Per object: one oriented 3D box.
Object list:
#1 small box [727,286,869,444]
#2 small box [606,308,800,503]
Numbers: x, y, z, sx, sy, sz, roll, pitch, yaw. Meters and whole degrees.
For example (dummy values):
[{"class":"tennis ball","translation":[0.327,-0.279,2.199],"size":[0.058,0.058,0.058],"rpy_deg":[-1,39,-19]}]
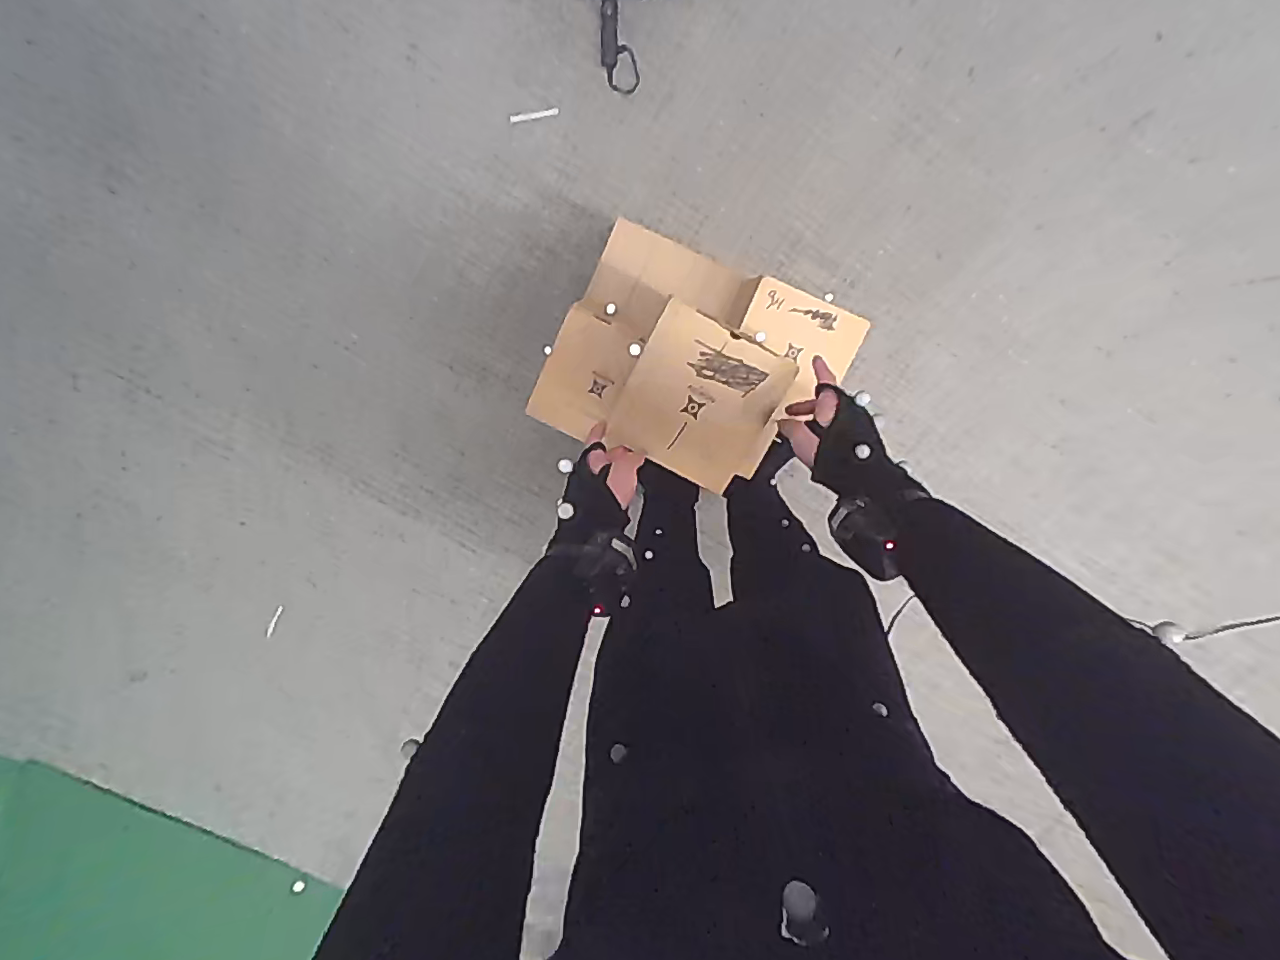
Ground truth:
[{"class":"small box","translation":[0.213,-0.181,0.835],"size":[0.168,0.176,0.179],"rpy_deg":[22,107,-5]},{"class":"small box","translation":[0.072,-0.105,0.691],"size":[0.168,0.176,0.179],"rpy_deg":[27,109,-5]}]
